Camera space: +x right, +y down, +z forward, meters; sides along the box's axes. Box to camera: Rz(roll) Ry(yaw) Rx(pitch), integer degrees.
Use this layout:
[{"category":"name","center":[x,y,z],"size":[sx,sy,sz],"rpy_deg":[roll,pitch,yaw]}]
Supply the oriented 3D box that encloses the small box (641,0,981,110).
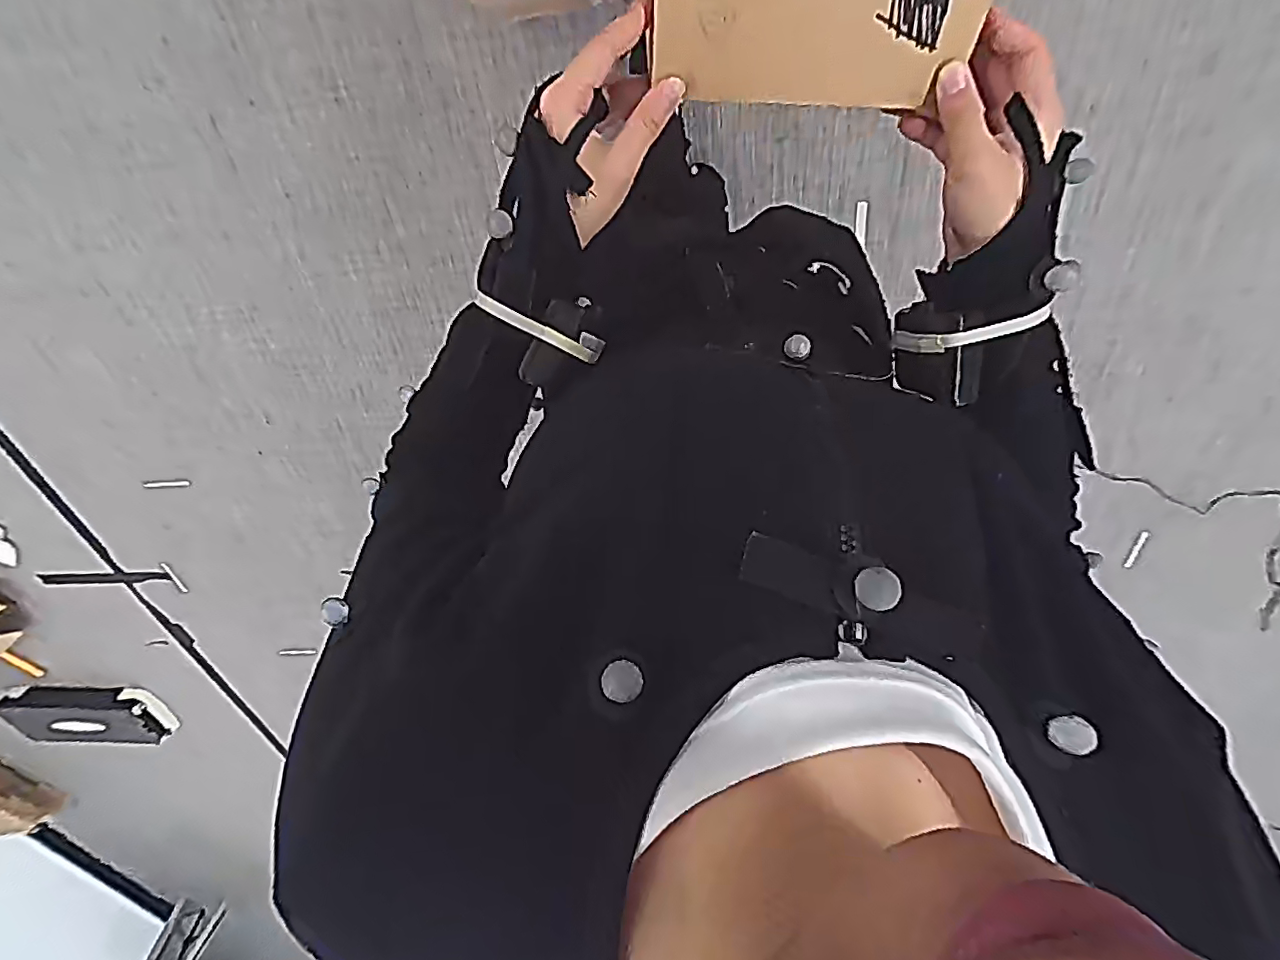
[{"category":"small box","center":[0.092,-0.334,0.306],"size":[0.179,0.176,0.168],"rpy_deg":[1,140,-1]}]
